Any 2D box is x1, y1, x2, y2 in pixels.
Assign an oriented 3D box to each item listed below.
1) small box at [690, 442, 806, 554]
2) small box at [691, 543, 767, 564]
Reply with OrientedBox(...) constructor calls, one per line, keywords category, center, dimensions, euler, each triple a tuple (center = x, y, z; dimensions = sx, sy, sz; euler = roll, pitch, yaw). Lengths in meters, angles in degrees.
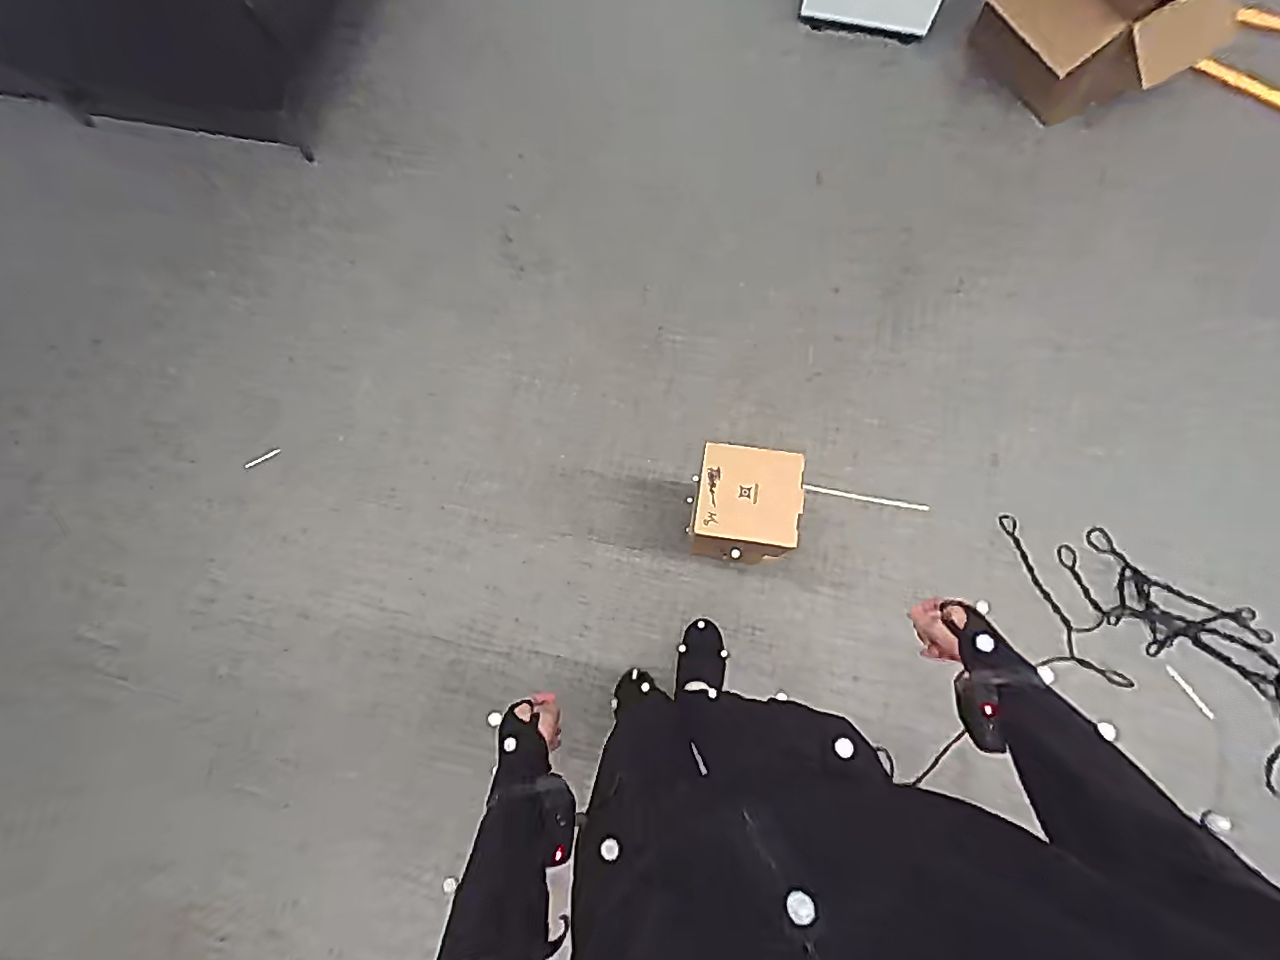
OrientedBox(category="small box", center=(0.193, 0.041, 1.002), dimensions=(0.179, 0.176, 0.168), euler=(8, 77, 5))
OrientedBox(category="small box", center=(0.223, 0.106, 1.322), dimensions=(0.179, 0.176, 0.168), euler=(10, 77, 6))
